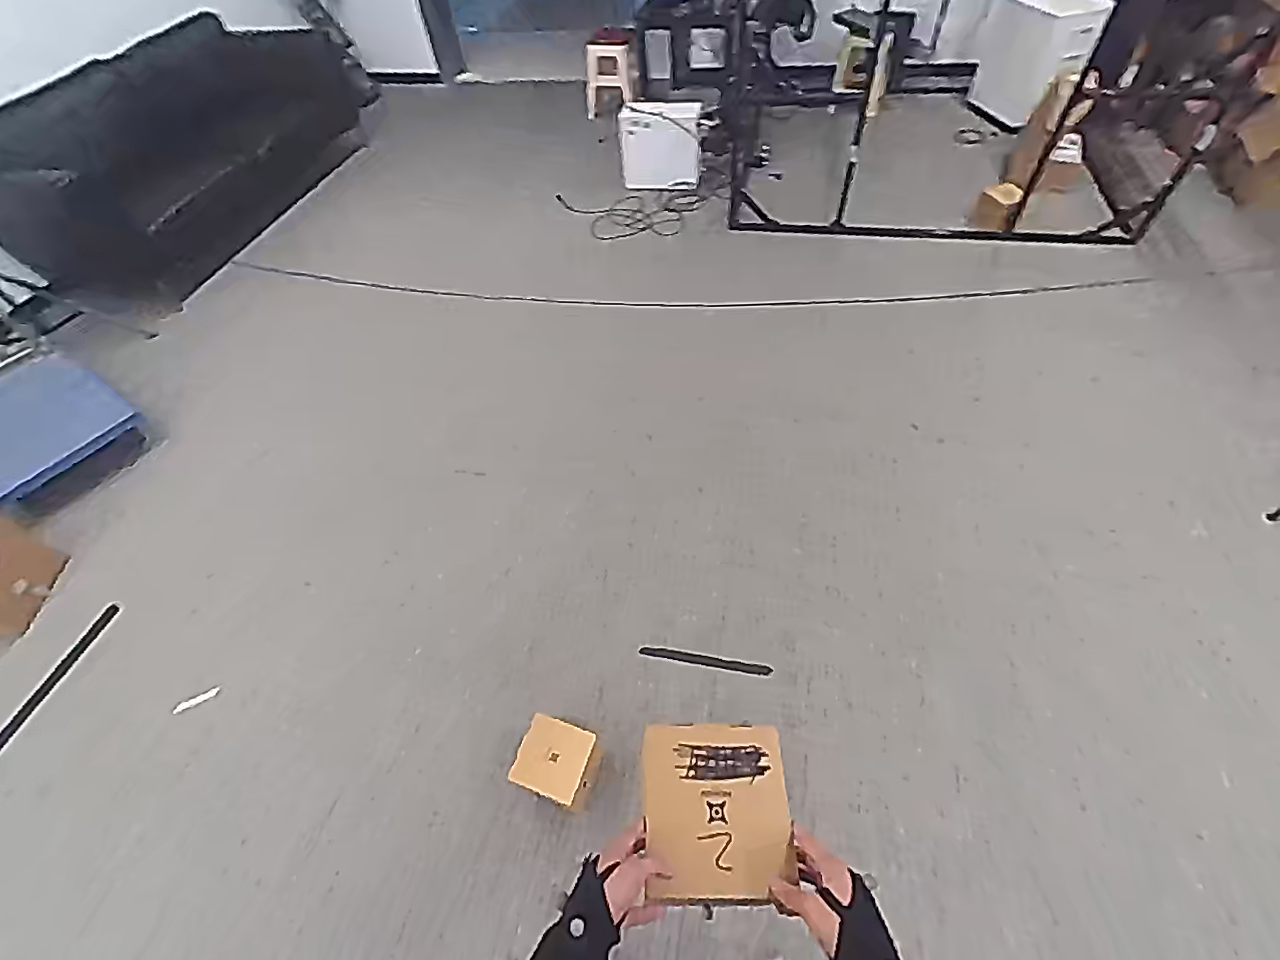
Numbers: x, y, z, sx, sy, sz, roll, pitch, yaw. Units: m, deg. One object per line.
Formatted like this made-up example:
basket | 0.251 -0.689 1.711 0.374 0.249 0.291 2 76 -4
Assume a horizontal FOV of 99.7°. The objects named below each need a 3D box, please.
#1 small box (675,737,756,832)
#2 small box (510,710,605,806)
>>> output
small box | 0.186 0.756 1.337 0.179 0.176 0.168 7 54 10
small box | -0.204 0.724 1.401 0.179 0.176 0.168 13 56 16
